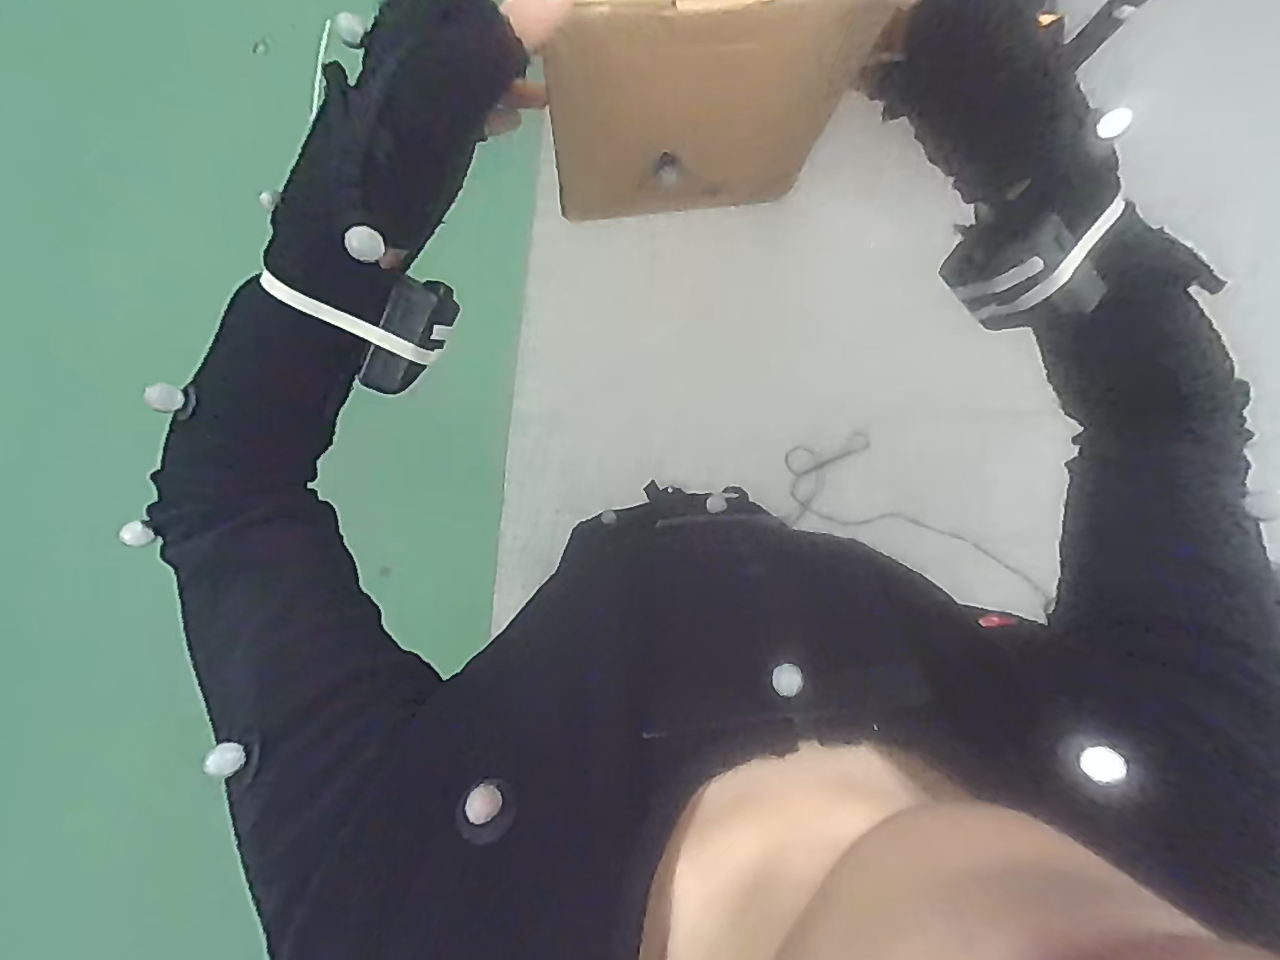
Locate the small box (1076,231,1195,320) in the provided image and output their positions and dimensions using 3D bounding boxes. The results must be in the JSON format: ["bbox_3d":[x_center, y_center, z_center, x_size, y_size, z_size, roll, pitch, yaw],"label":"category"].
[{"bbox_3d":[1.389,-0.566,1.523,0.179,0.176,0.168,10,84,-1],"label":"small box"}]
